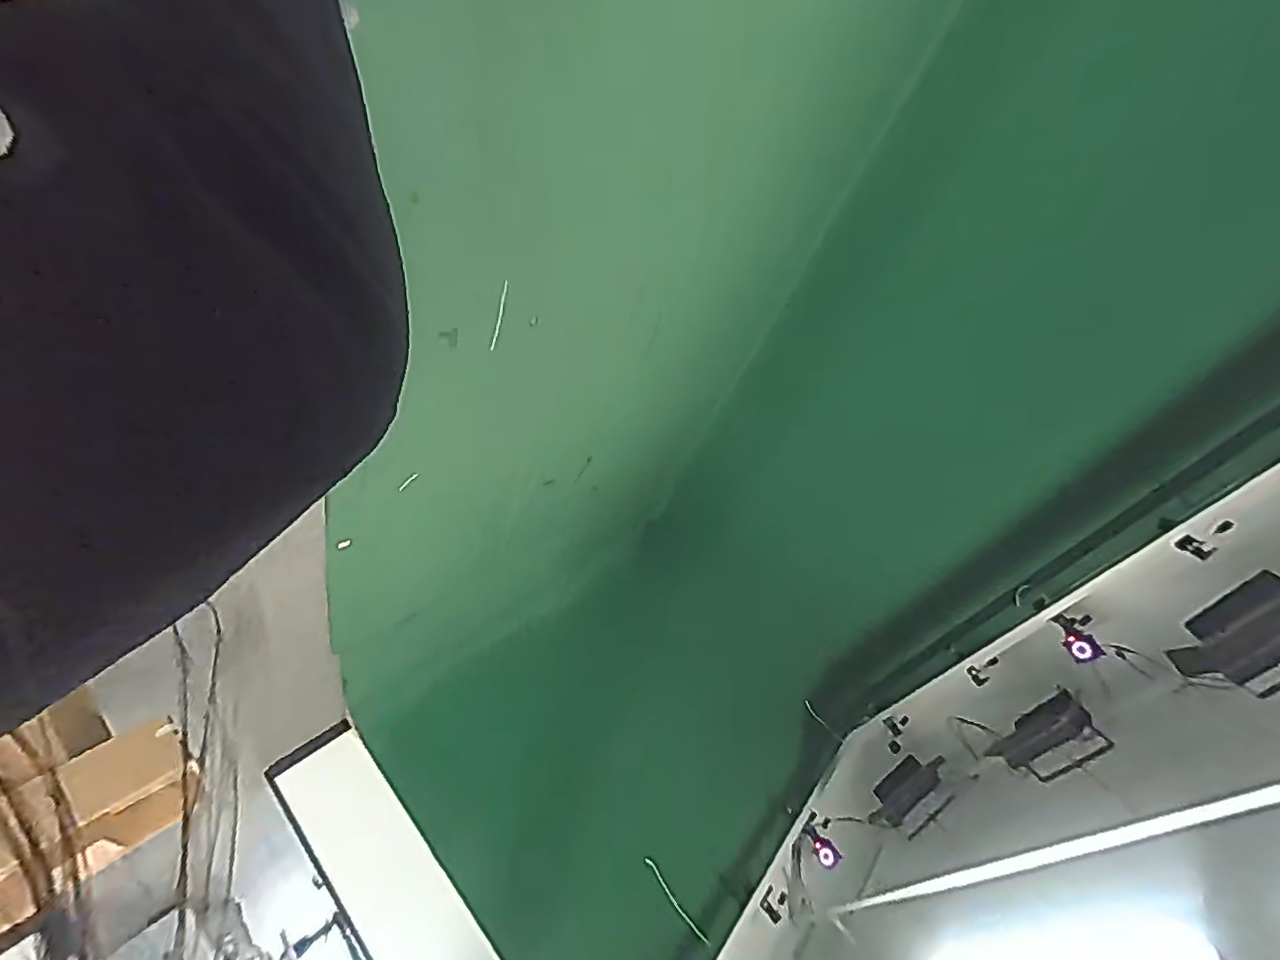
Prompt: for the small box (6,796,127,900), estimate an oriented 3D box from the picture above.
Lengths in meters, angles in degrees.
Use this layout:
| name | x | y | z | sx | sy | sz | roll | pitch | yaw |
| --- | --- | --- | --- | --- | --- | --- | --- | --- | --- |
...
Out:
| name | x | y | z | sx | sy | sz | roll | pitch | yaw |
| --- | --- | --- | --- | --- | --- | --- | --- | --- | --- |
| small box | -1.599 | 1.024 | 1.513 | 0.168 | 0.176 | 0.179 | -31 | 156 | -40 |
